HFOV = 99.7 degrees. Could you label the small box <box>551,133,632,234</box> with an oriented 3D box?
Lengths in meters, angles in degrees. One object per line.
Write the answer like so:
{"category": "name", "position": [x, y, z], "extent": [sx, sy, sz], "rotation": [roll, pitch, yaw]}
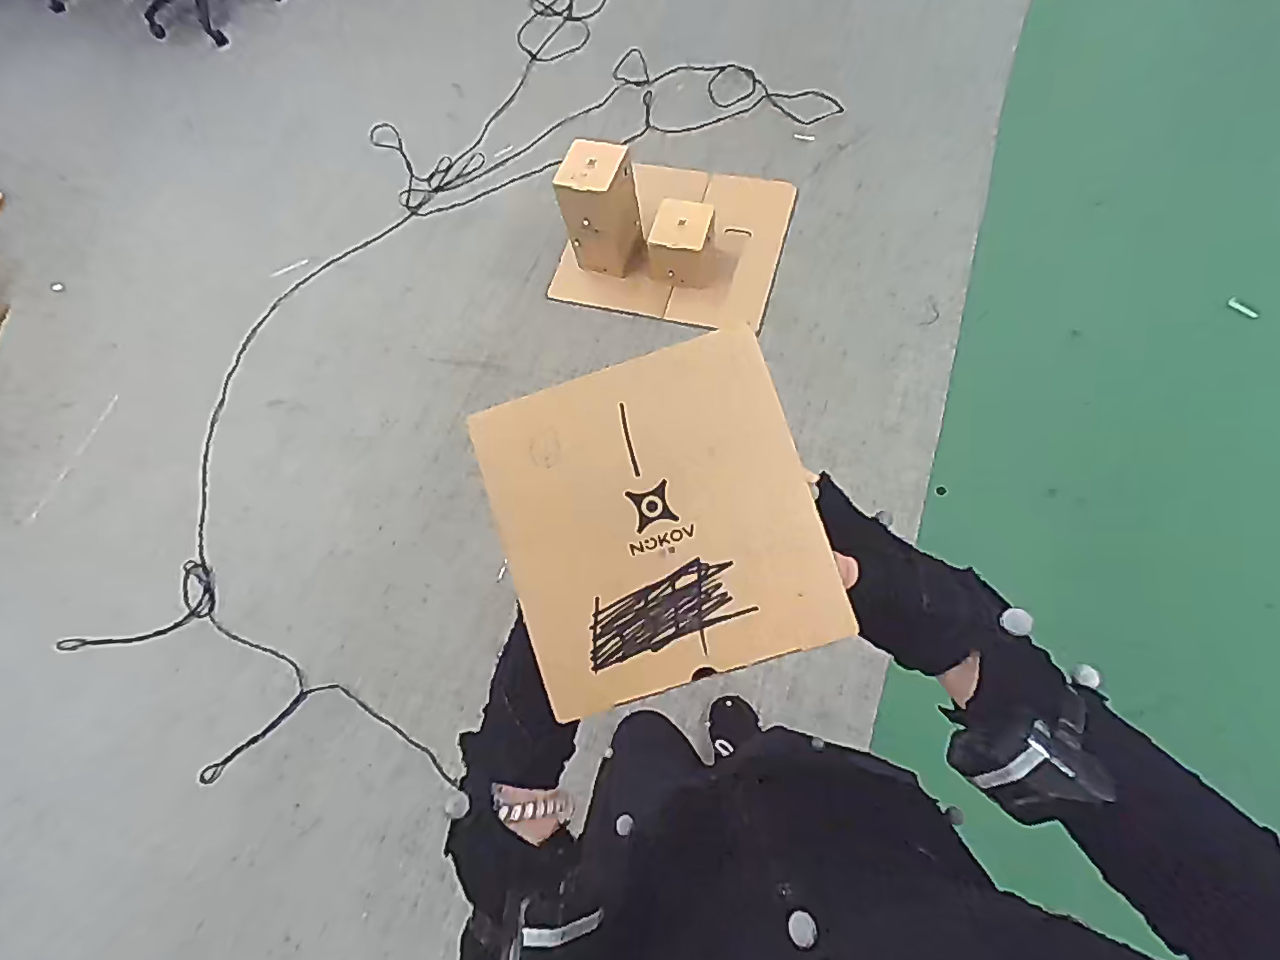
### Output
{"category": "small box", "position": [-0.129, -0.846, 1.549], "extent": [0.168, 0.176, 0.179], "rotation": [17, 74, 14]}

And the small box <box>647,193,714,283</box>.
{"category": "small box", "position": [0.126, -0.739, 1.658], "extent": [0.168, 0.176, 0.179], "rotation": [13, 74, 11]}

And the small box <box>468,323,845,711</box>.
{"category": "small box", "position": [0.014, 0.021, 0.370], "extent": [0.168, 0.176, 0.179], "rotation": [-18, 87, 5]}
